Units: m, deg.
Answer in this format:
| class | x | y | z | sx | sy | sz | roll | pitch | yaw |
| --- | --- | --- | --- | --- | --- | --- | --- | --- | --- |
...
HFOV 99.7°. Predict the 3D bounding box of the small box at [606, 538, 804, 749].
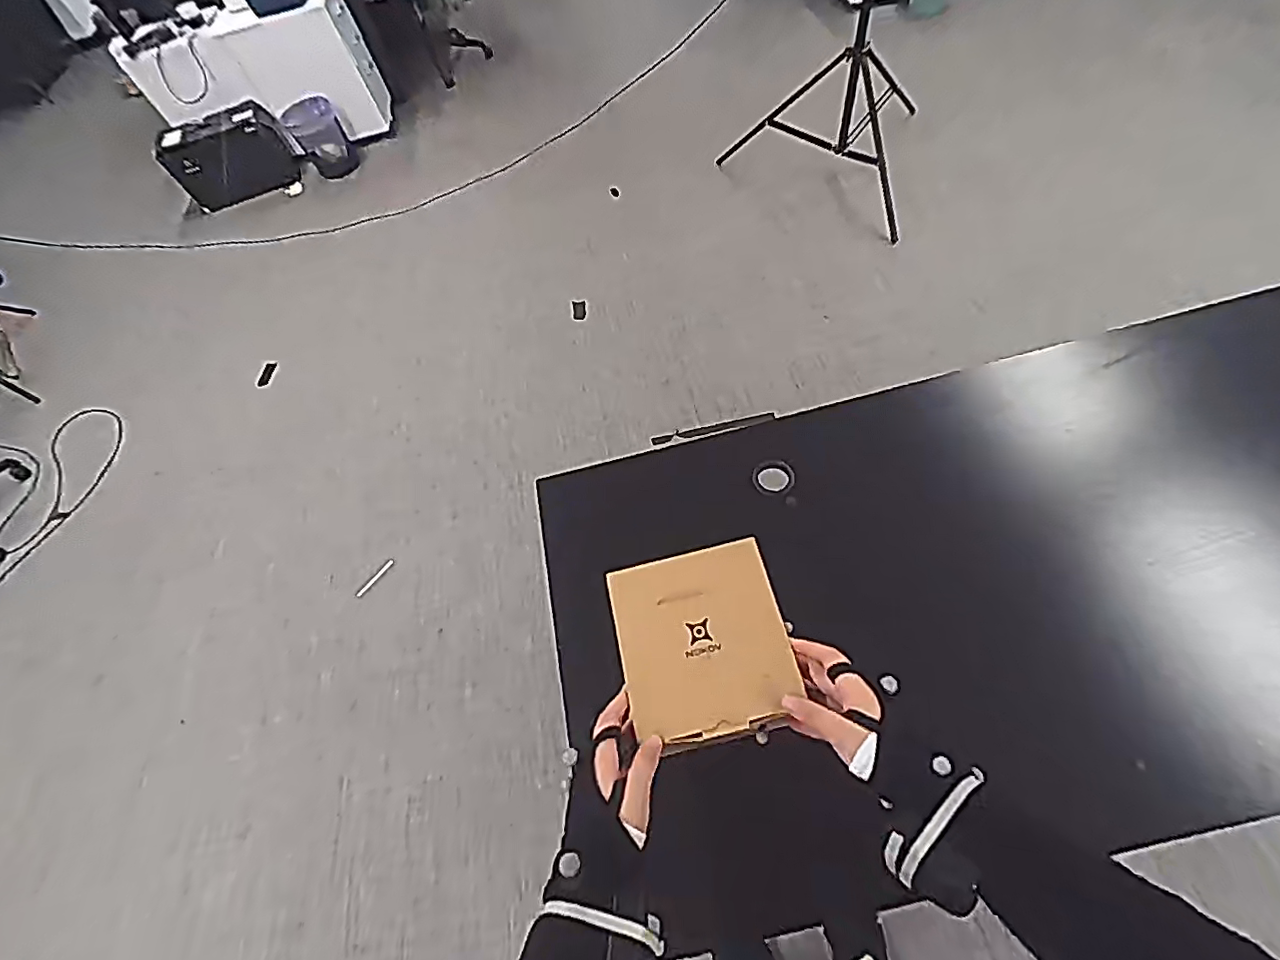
| class | x | y | z | sx | sy | sz | roll | pitch | yaw |
| --- | --- | --- | --- | --- | --- | --- | --- | --- | --- |
| small box | 0.069 | 0.192 | 0.606 | 0.168 | 0.176 | 0.179 | -14 | 59 | 1 |
